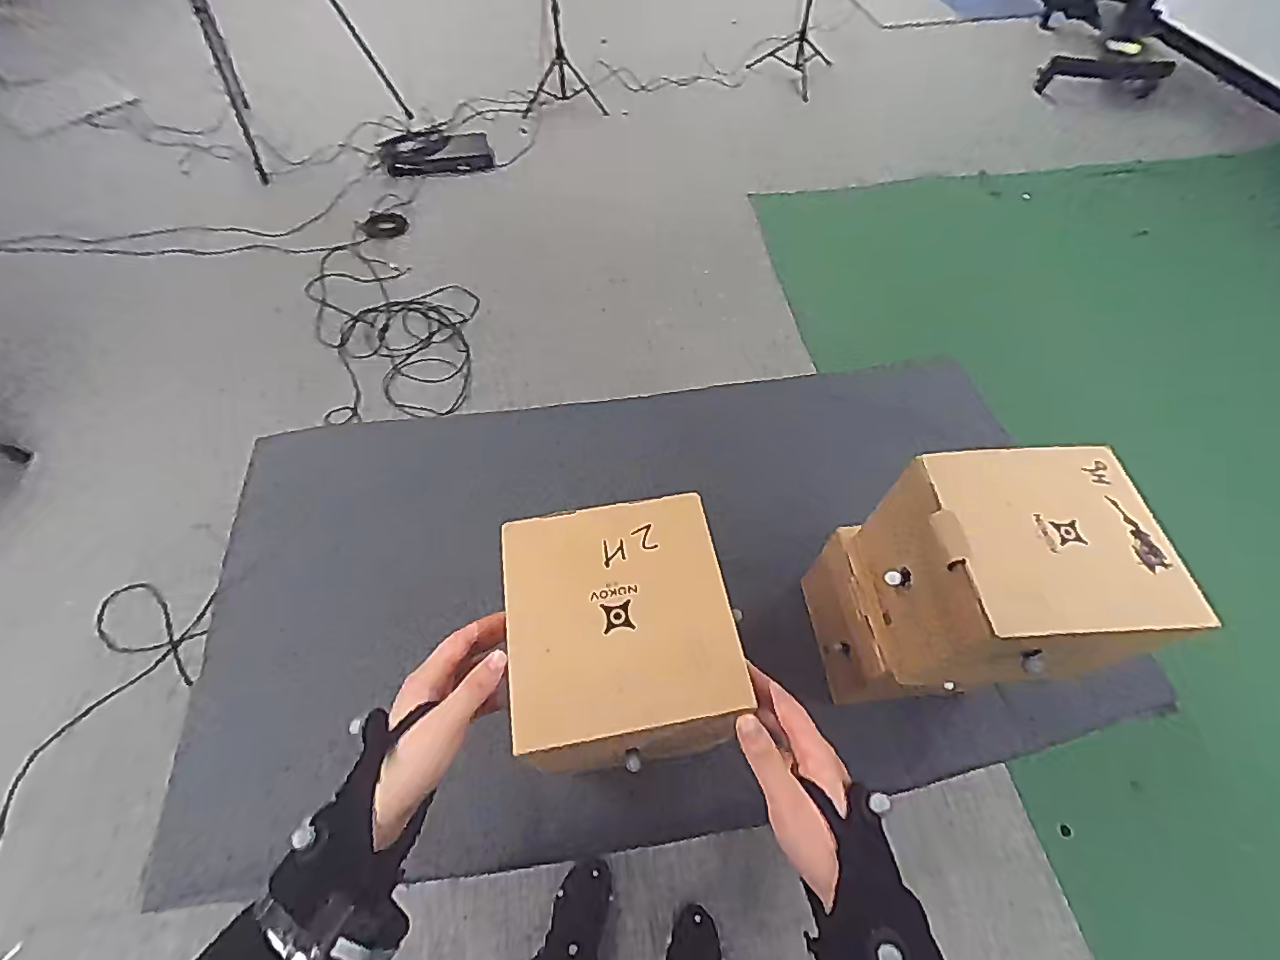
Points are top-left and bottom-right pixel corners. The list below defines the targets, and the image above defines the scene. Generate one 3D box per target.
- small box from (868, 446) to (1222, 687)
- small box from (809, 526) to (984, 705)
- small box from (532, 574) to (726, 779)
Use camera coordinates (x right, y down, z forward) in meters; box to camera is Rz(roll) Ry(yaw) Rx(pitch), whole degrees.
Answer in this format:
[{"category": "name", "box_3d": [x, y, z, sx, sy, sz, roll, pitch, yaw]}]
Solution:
[{"category": "small box", "box_3d": [0.329, 0.086, 0.495, 0.179, 0.176, 0.168, -3, 58, -1]}, {"category": "small box", "box_3d": [0.315, 0.161, 0.641, 0.179, 0.176, 0.168, -4, 58, -4]}, {"category": "small box", "box_3d": [-0.016, 0.222, 0.599, 0.179, 0.176, 0.168, -8, 57, -4]}]
